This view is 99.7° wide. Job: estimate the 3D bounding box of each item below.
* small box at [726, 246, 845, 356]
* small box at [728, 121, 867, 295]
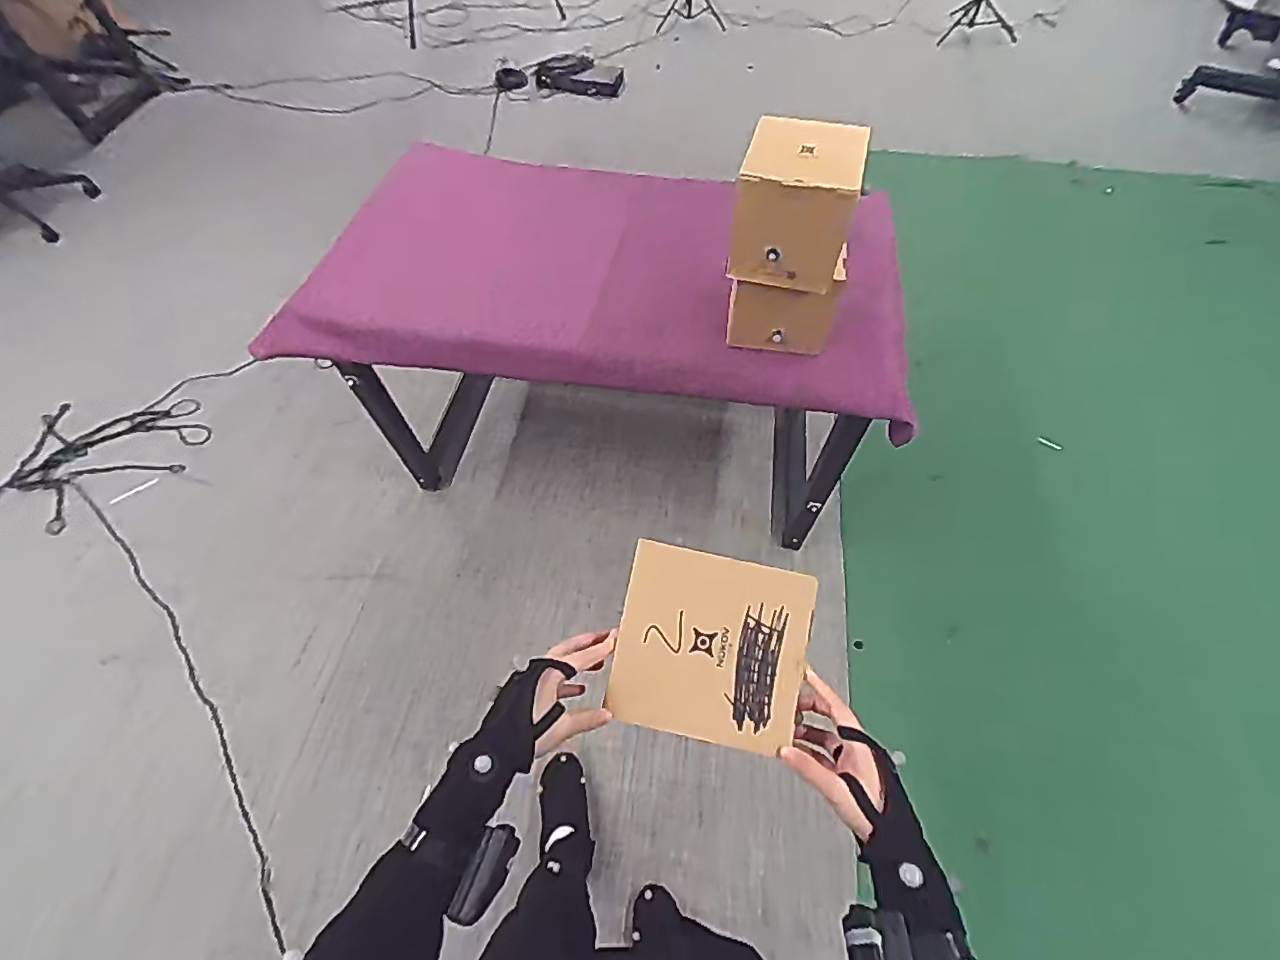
[{"bbox_3d":[0.259,-0.347,0.990,0.179,0.176,0.168,7,57,6],"label":"small box"},{"bbox_3d":[0.238,-0.421,0.844,0.168,0.176,0.179,13,59,11],"label":"small box"}]
